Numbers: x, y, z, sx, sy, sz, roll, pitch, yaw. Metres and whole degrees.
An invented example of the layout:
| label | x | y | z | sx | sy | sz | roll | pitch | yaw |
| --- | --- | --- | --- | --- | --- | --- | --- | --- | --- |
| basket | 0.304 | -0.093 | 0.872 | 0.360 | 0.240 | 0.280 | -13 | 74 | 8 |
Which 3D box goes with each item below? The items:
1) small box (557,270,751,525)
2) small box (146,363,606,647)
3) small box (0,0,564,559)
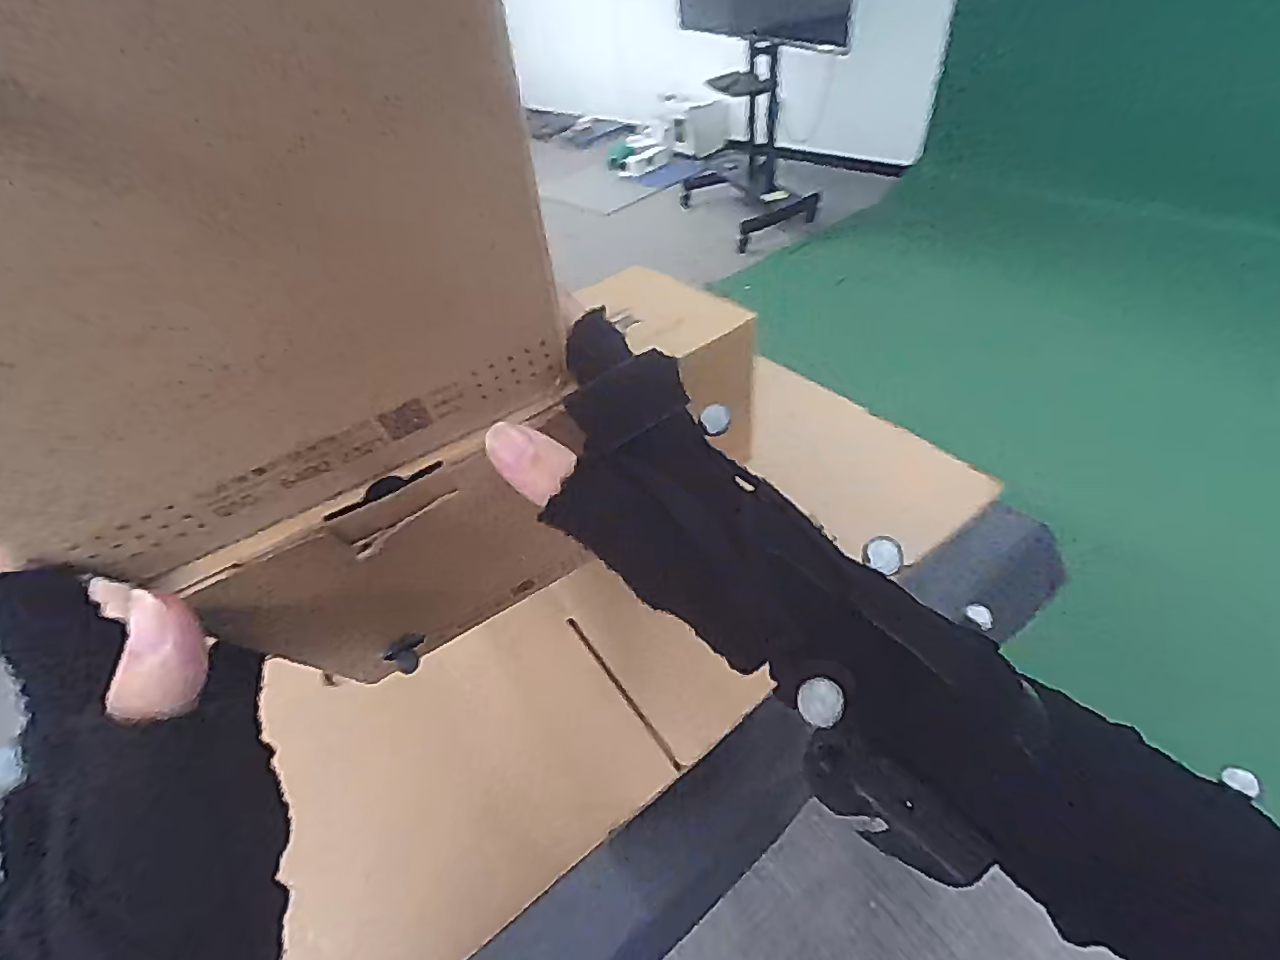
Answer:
| label | x | y | z | sx | sy | sz | roll | pitch | yaw |
| --- | --- | --- | --- | --- | --- | --- | --- | --- | --- |
| small box | -0.007 | -0.086 | 0.555 | 0.168 | 0.176 | 0.179 | -34 | 50 | -21 |
| small box | -0.131 | -0.025 | 0.302 | 0.168 | 0.176 | 0.179 | -29 | 66 | -12 |
| small box | -0.138 | -0.106 | 0.159 | 0.168 | 0.176 | 0.179 | -27 | 65 | -12 |
